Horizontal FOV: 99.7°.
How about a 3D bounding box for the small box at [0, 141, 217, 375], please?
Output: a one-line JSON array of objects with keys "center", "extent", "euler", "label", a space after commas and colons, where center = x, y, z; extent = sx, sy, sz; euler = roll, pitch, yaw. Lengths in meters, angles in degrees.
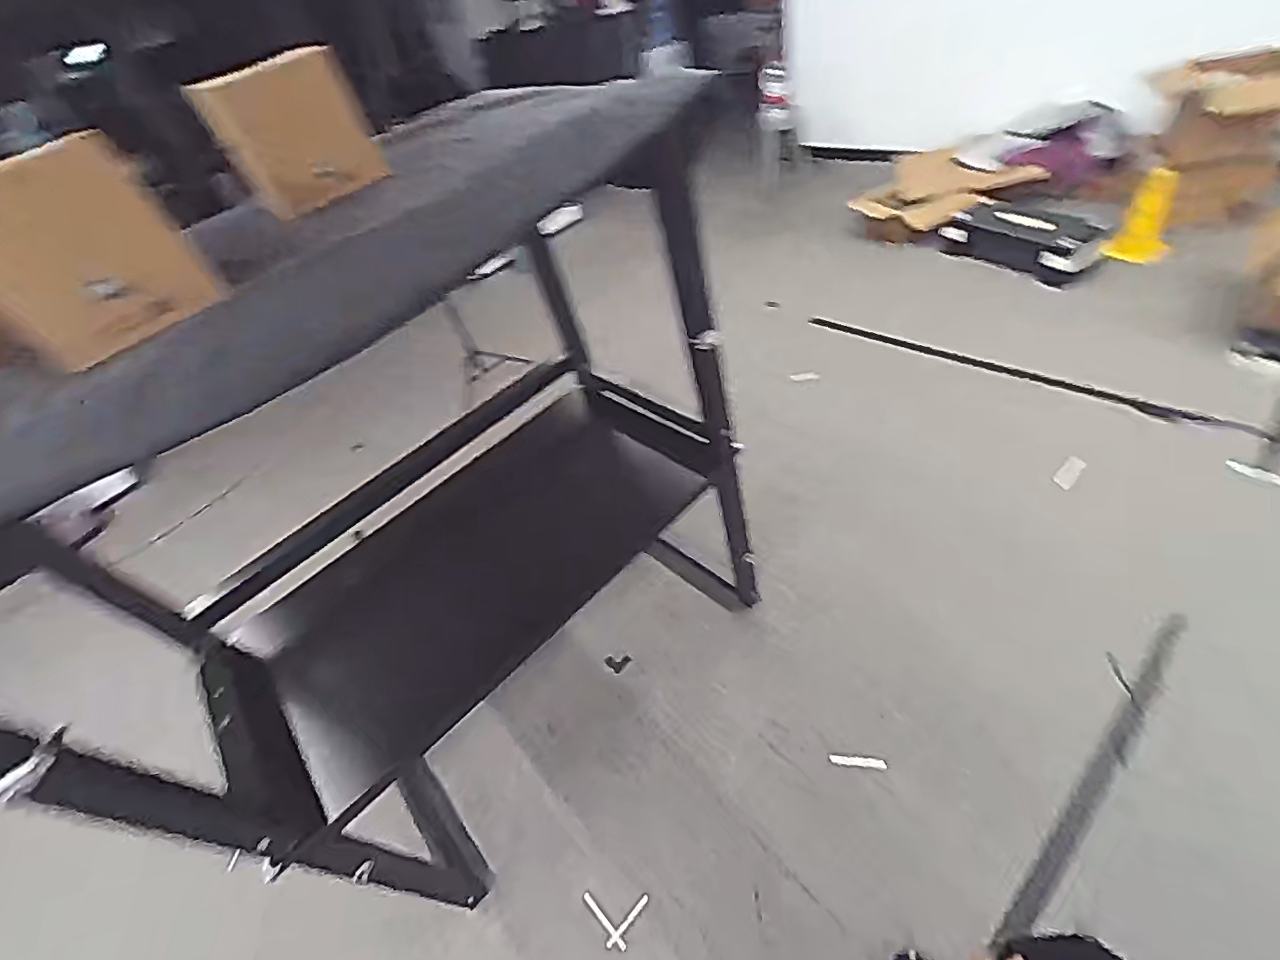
[{"center": [-0.604, -0.236, 0.575], "extent": [0.179, 0.176, 0.168], "euler": [29, 62, 37], "label": "small box"}]
